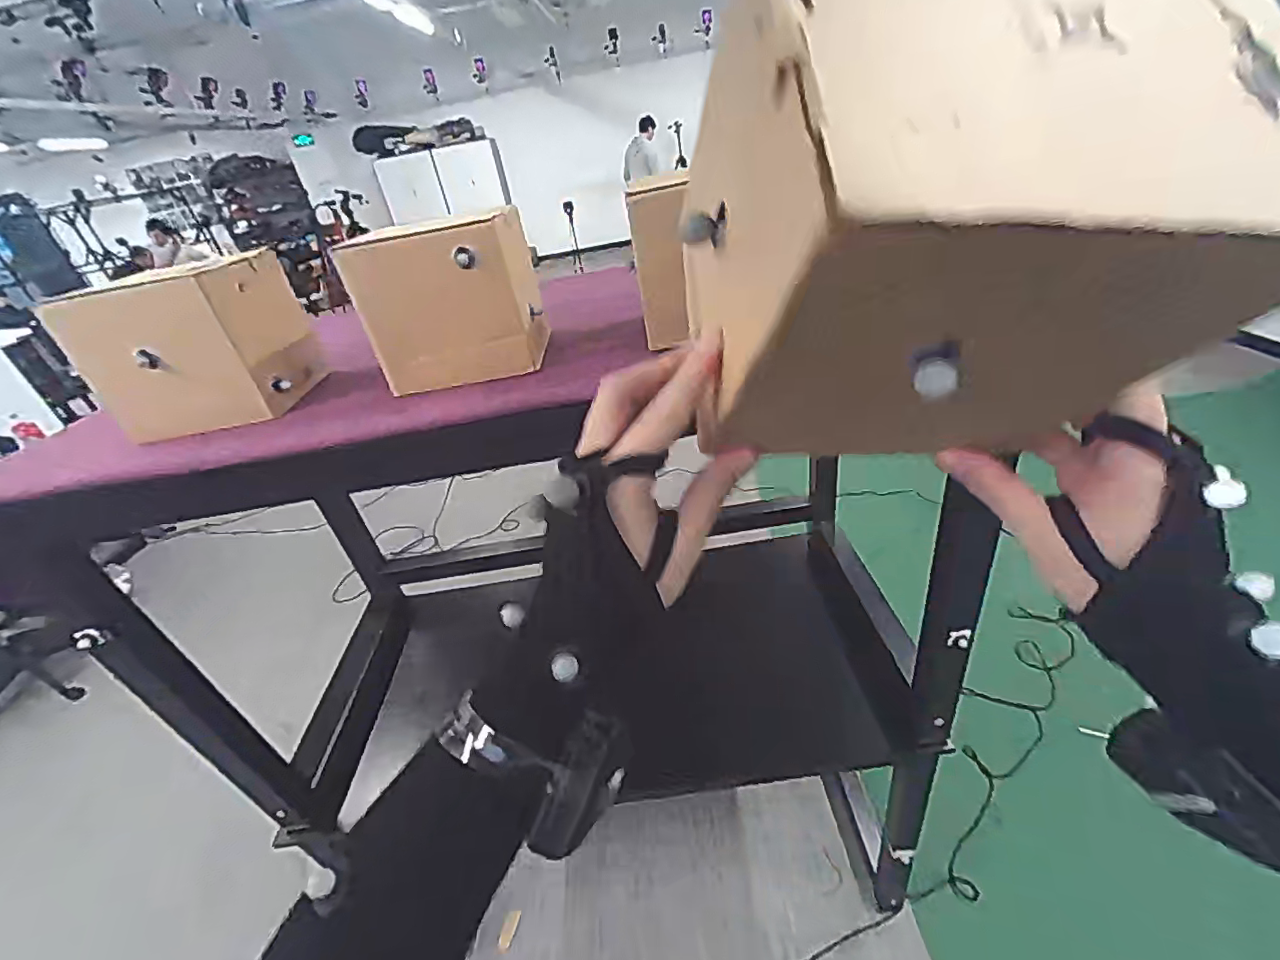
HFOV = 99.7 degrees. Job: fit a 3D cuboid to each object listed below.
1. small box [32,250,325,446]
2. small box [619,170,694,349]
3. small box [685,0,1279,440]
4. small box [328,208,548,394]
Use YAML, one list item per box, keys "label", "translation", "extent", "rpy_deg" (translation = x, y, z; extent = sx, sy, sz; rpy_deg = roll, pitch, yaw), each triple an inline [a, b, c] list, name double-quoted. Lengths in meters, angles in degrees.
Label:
- label: "small box"
  translation: [-0.528, -0.161, 0.657]
  extent: [0.179, 0.176, 0.168]
  rpy_deg: [-11, 32, 1]
- label: "small box"
  translation: [0.079, -0.264, 0.631]
  extent: [0.179, 0.176, 0.168]
  rpy_deg: [-8, 32, 5]
- label: "small box"
  translation: [0.117, -0.123, 0.248]
  extent: [0.179, 0.176, 0.168]
  rpy_deg: [-1, 72, -4]
- label: "small box"
  translation: [-0.223, -0.215, 0.652]
  extent: [0.179, 0.176, 0.168]
  rpy_deg: [-9, 32, 2]
